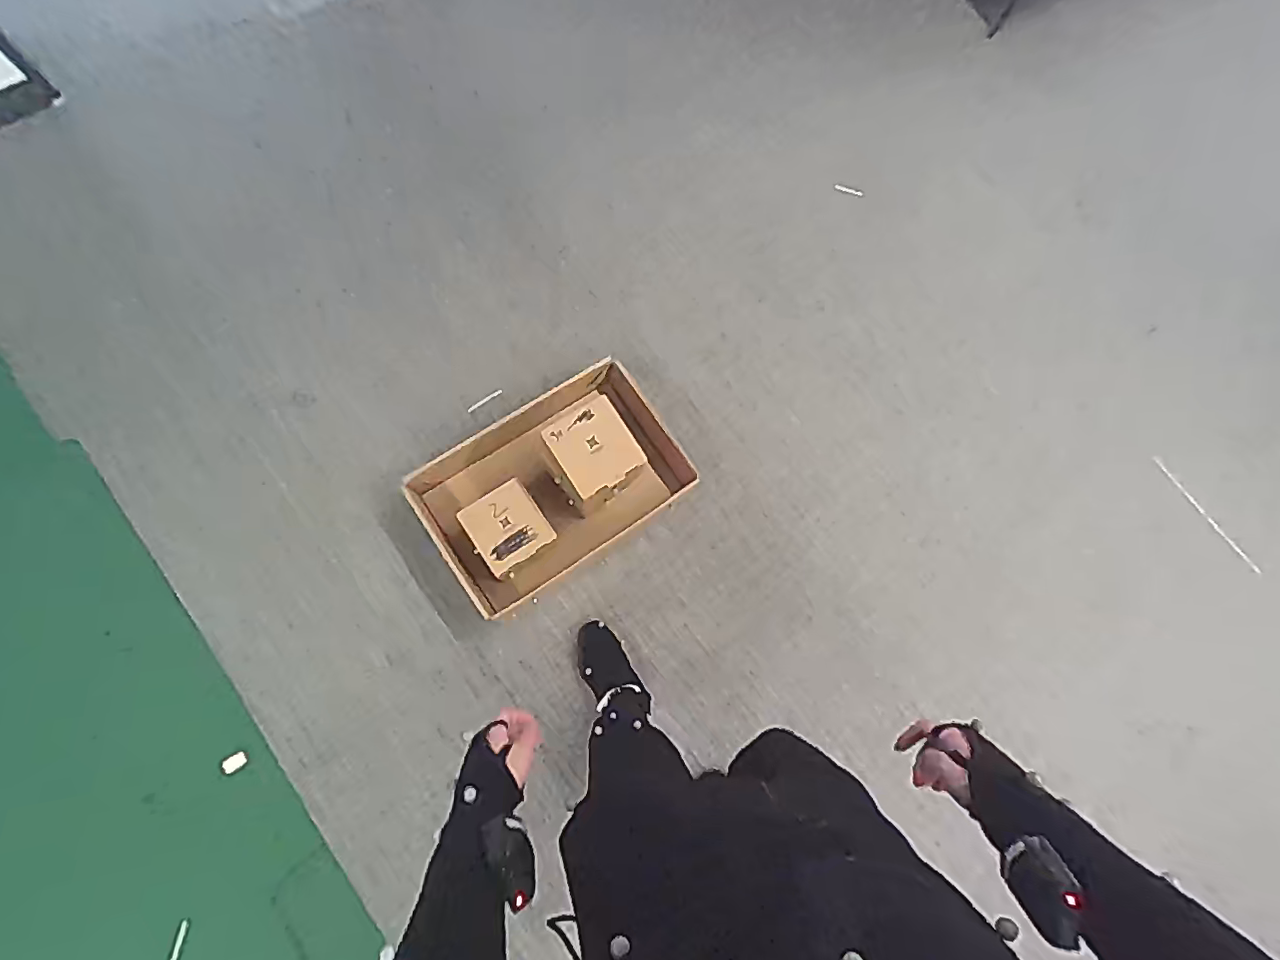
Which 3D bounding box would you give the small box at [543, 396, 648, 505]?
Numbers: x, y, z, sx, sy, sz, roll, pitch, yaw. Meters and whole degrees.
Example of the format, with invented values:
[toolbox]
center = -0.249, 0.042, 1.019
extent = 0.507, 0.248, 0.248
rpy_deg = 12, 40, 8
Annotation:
[small box]
center = -0.101, -0.056, 1.218
extent = 0.168, 0.176, 0.179
rpy_deg = -32, 85, -12
